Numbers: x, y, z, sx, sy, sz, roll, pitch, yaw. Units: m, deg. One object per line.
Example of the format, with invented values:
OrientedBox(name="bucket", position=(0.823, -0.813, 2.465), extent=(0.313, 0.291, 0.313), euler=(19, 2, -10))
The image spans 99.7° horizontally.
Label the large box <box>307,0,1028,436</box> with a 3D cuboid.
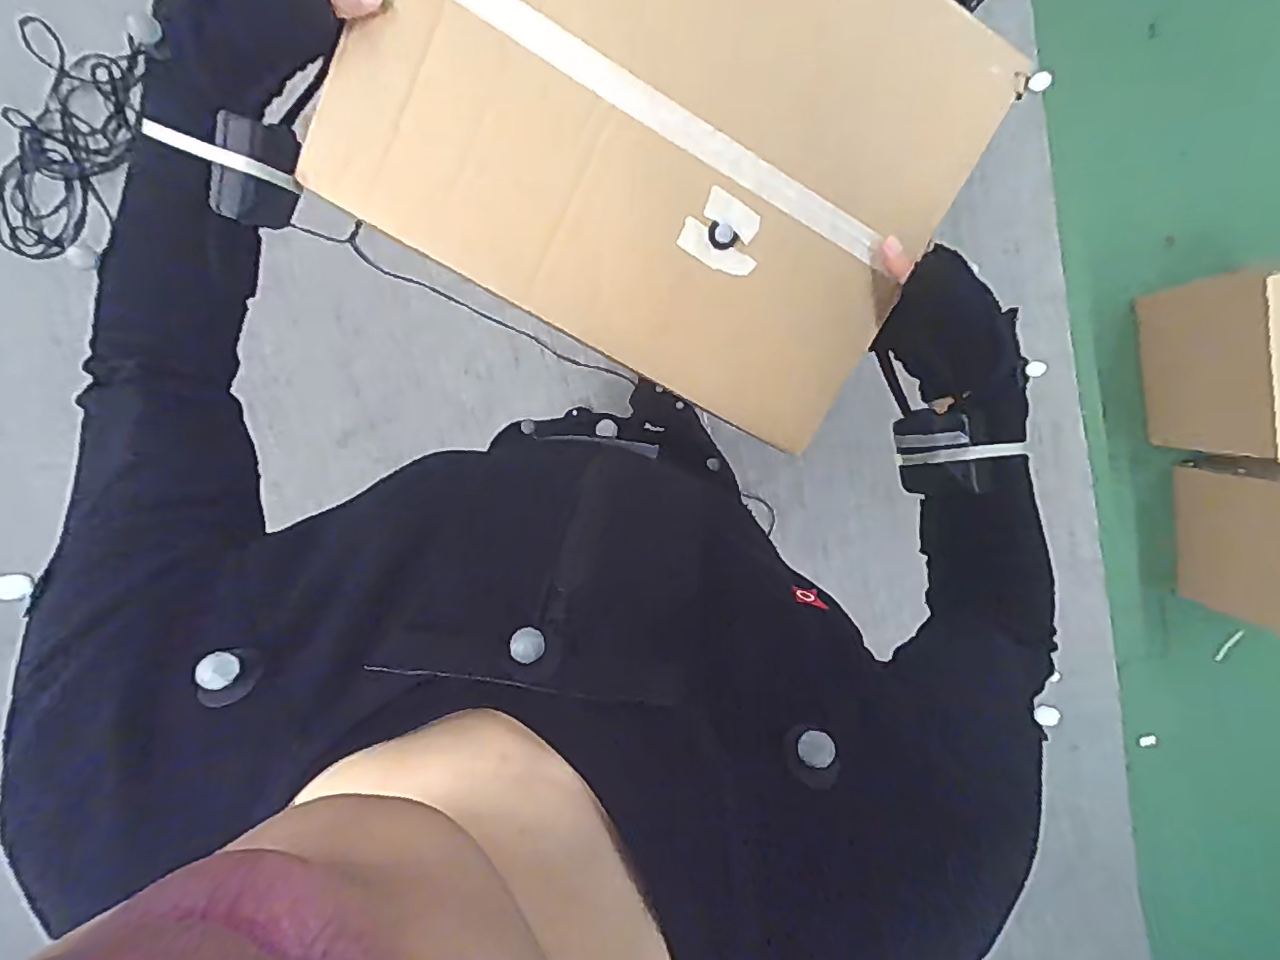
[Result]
OrientedBox(name="large box", position=(0.010, -0.285, 0.504), extent=(0.408, 0.320, 0.320), euler=(27, 102, -11))
